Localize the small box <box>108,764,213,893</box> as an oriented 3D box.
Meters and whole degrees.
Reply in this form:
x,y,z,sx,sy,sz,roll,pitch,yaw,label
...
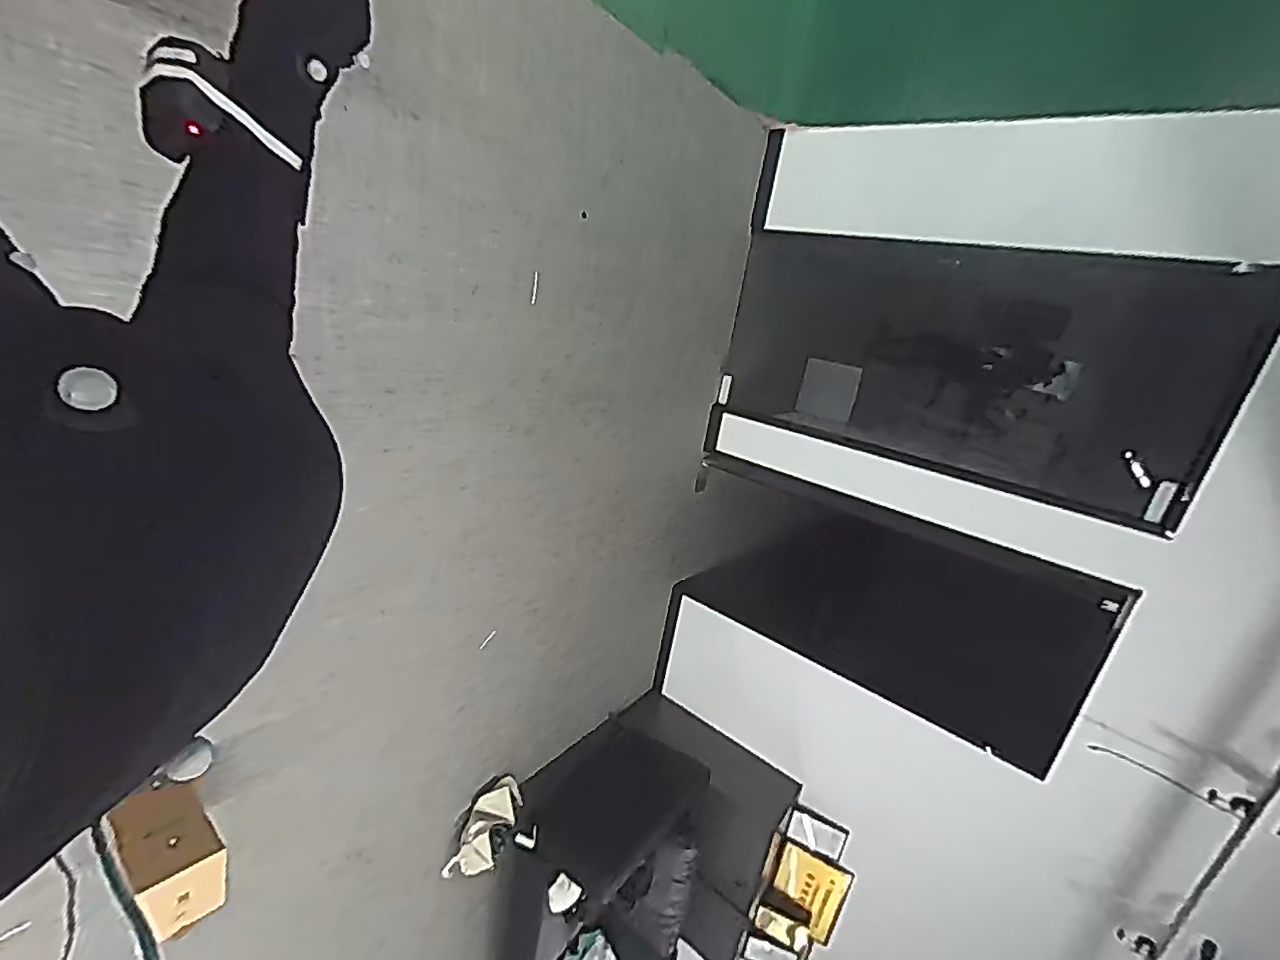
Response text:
x,y,z,sx,sy,sz,roll,pitch,yaw,label
-1.219,0.873,1.373,0.168,0.176,0.179,-5,113,-55,small box

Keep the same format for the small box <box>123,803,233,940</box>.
x,y,z,sx,sy,sz,roll,pitch,yaw,label
-1.103,0.916,1.291,0.168,0.176,0.179,-8,116,-54,small box
